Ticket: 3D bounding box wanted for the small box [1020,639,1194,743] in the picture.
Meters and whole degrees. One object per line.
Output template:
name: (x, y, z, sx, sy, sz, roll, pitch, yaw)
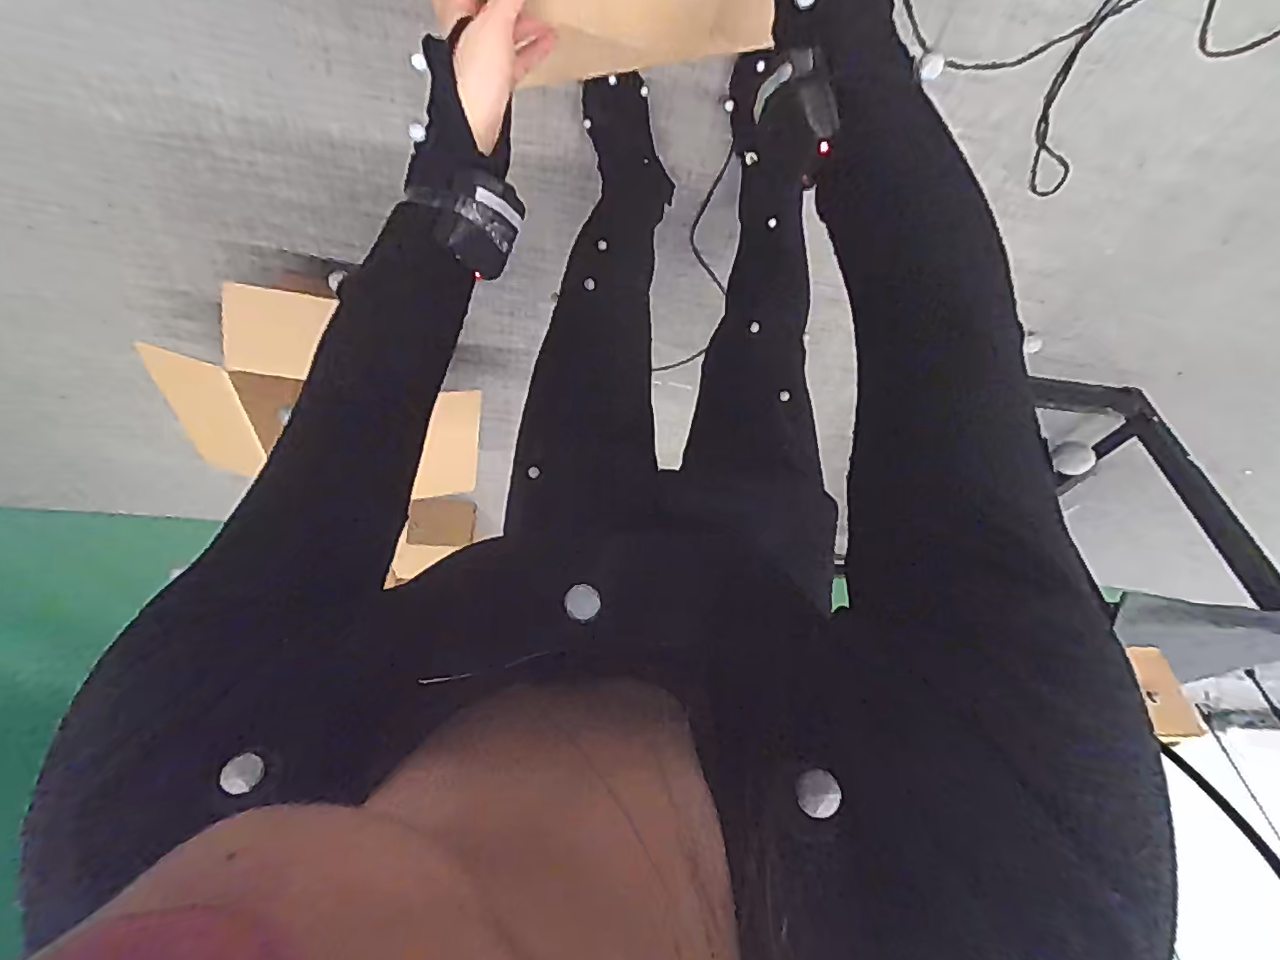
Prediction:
small box: (0.942, 0.433, 1.110, 0.179, 0.176, 0.168, 2, 145, -6)
